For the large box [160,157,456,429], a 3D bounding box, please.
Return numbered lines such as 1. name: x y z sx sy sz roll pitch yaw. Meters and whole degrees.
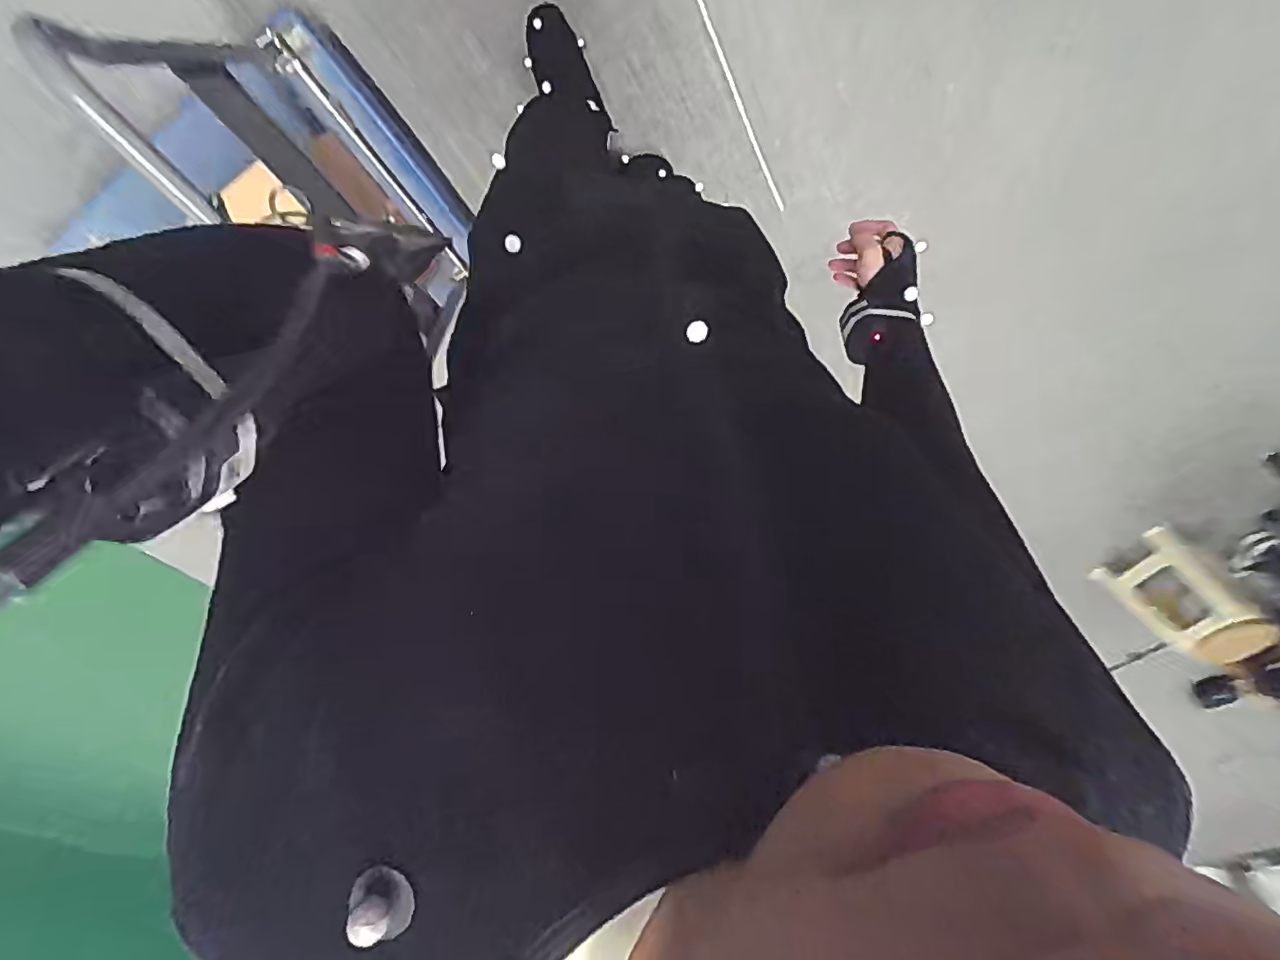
1. large box: -0.666 -0.390 1.145 0.408 0.320 0.320 -29 125 20
